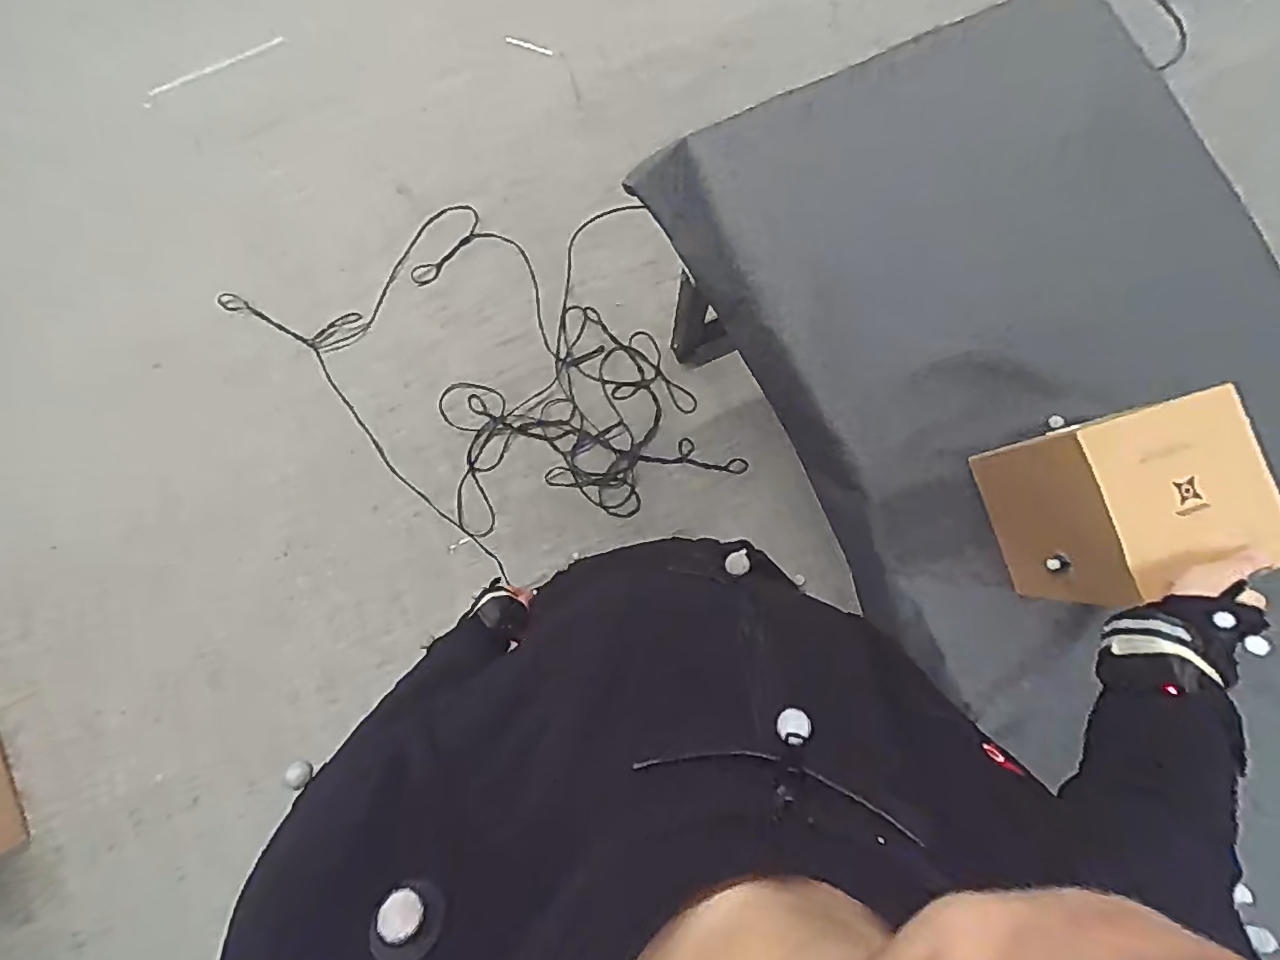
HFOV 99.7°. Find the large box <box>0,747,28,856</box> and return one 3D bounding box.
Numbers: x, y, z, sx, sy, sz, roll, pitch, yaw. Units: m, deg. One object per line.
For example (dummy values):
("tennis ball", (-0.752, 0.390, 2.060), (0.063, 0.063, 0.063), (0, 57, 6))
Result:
("large box", (-1.680, 0.736, 1.163), (0.320, 0.320, 0.408), (-25, 83, -4))

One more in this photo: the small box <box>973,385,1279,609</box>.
("small box", (0.507, 0.022, 0.580), (0.168, 0.176, 0.179), (-17, 83, -3))
